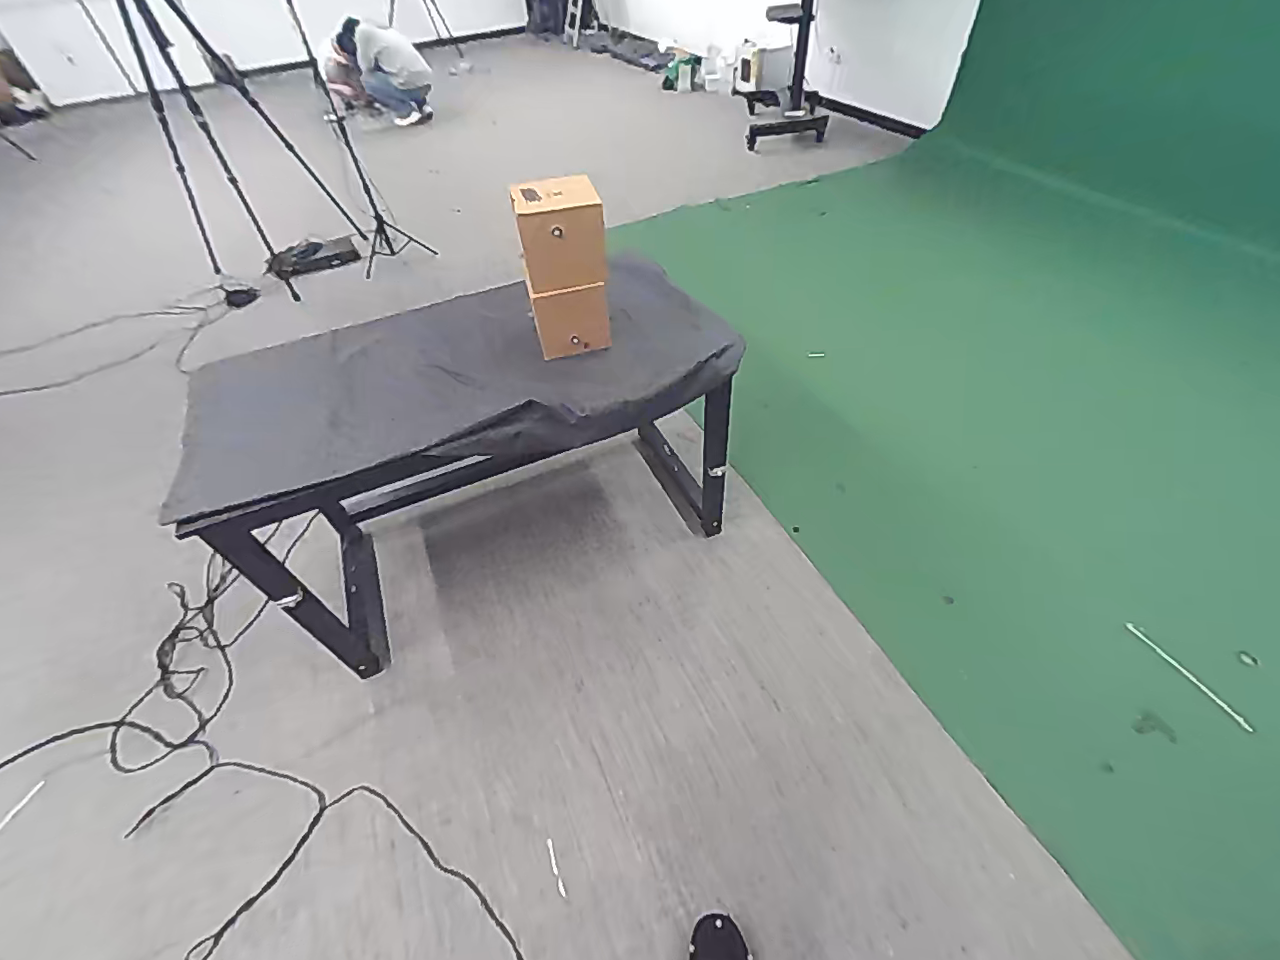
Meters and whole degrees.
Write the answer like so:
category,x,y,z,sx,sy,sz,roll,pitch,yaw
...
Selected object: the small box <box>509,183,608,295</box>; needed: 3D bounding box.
category,x,y,z,sx,sy,sz,roll,pitch,yaw
small box,-0.176,-0.525,1.187,0.179,0.176,0.168,-13,49,-7
